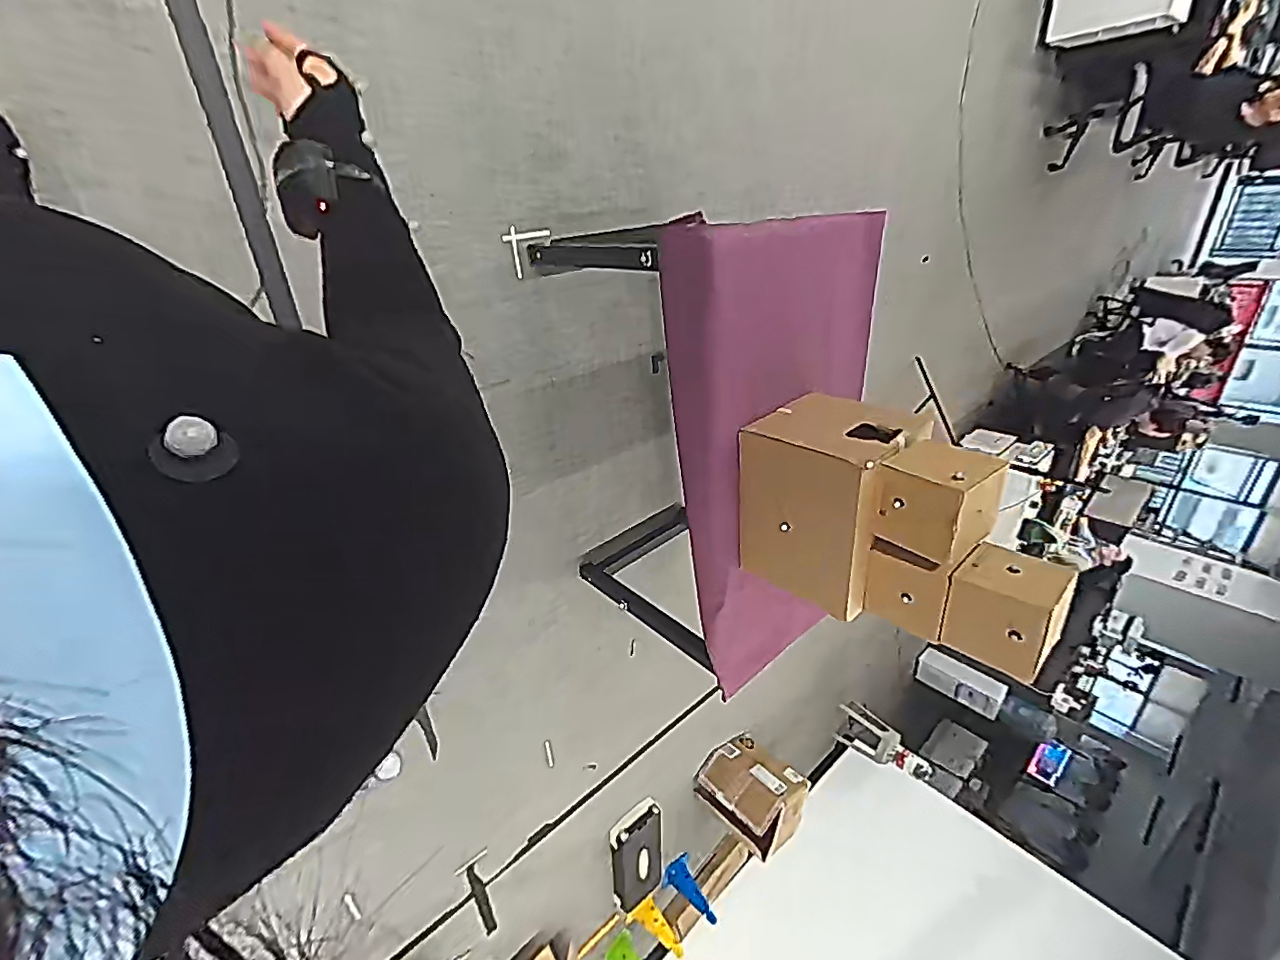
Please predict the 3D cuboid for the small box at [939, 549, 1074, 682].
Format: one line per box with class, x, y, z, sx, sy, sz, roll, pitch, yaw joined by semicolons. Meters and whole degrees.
small box;0.725;0.256;1.081;0.168;0.176;0.179;-25;123;-34
